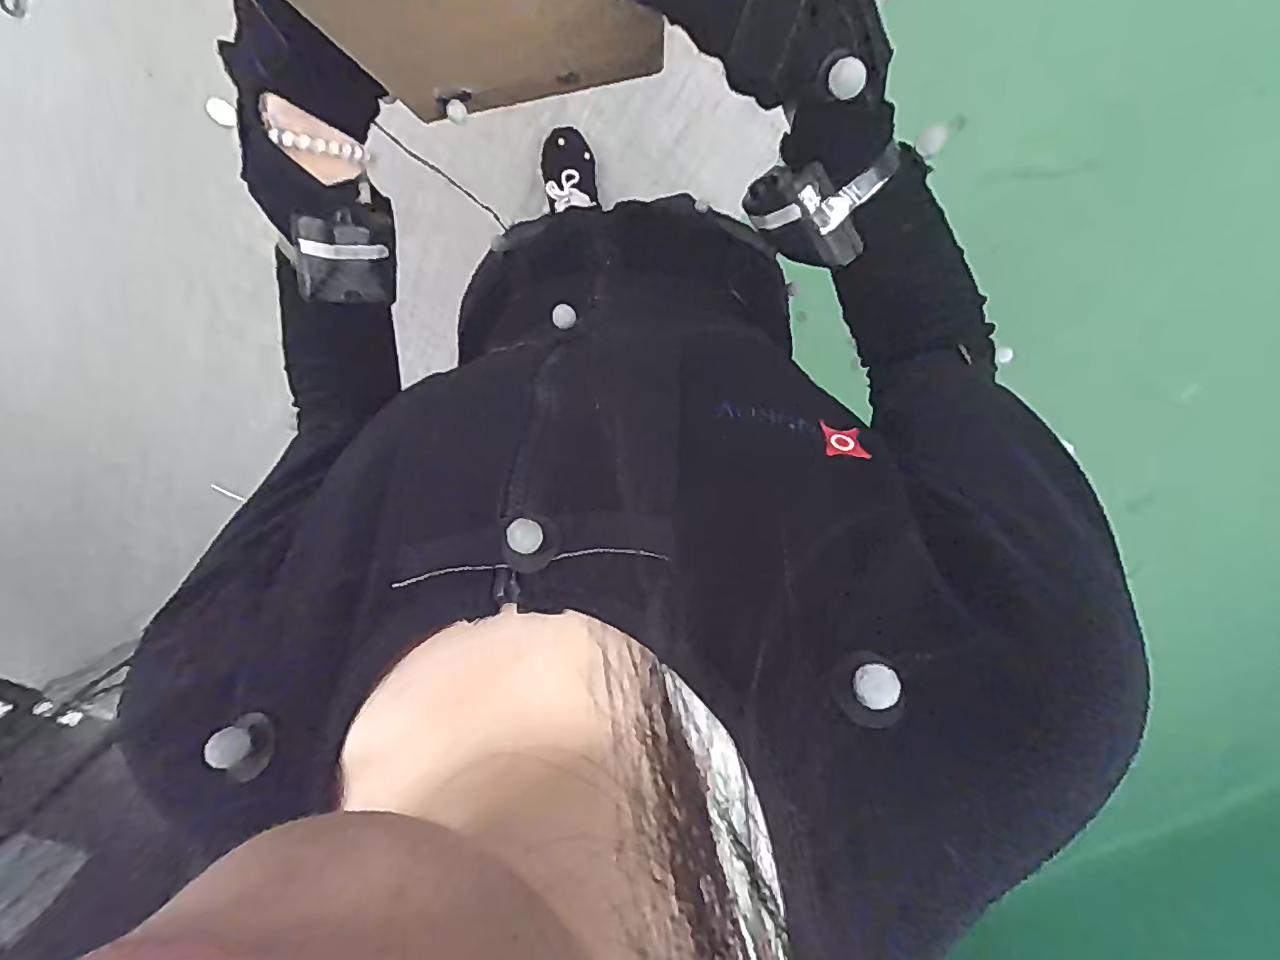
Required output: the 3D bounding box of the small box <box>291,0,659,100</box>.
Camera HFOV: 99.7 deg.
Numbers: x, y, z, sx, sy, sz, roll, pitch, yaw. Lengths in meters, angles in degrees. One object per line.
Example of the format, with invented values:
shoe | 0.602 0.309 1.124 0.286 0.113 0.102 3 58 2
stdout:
small box | -0.083 -0.314 0.257 0.168 0.176 0.179 -9 104 4
